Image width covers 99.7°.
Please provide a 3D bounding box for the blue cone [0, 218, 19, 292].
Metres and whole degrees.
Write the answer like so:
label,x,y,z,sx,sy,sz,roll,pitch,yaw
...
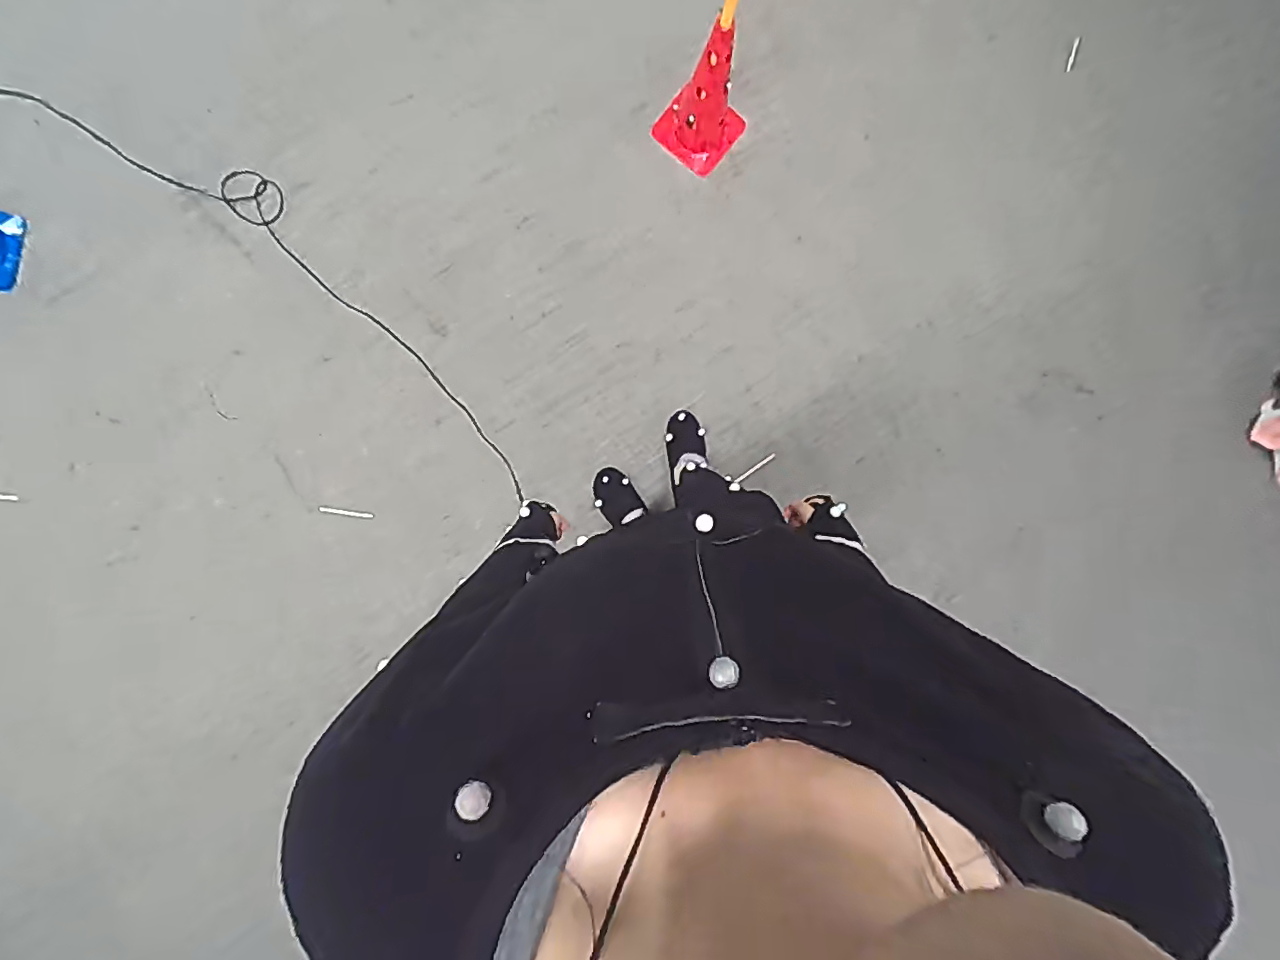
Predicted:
label,x,y,z,sx,sy,sz,roll,pitch,yaw
blue cone,-1.680,-0.572,1.213,0.192,0.380,0.193,11,94,-4
